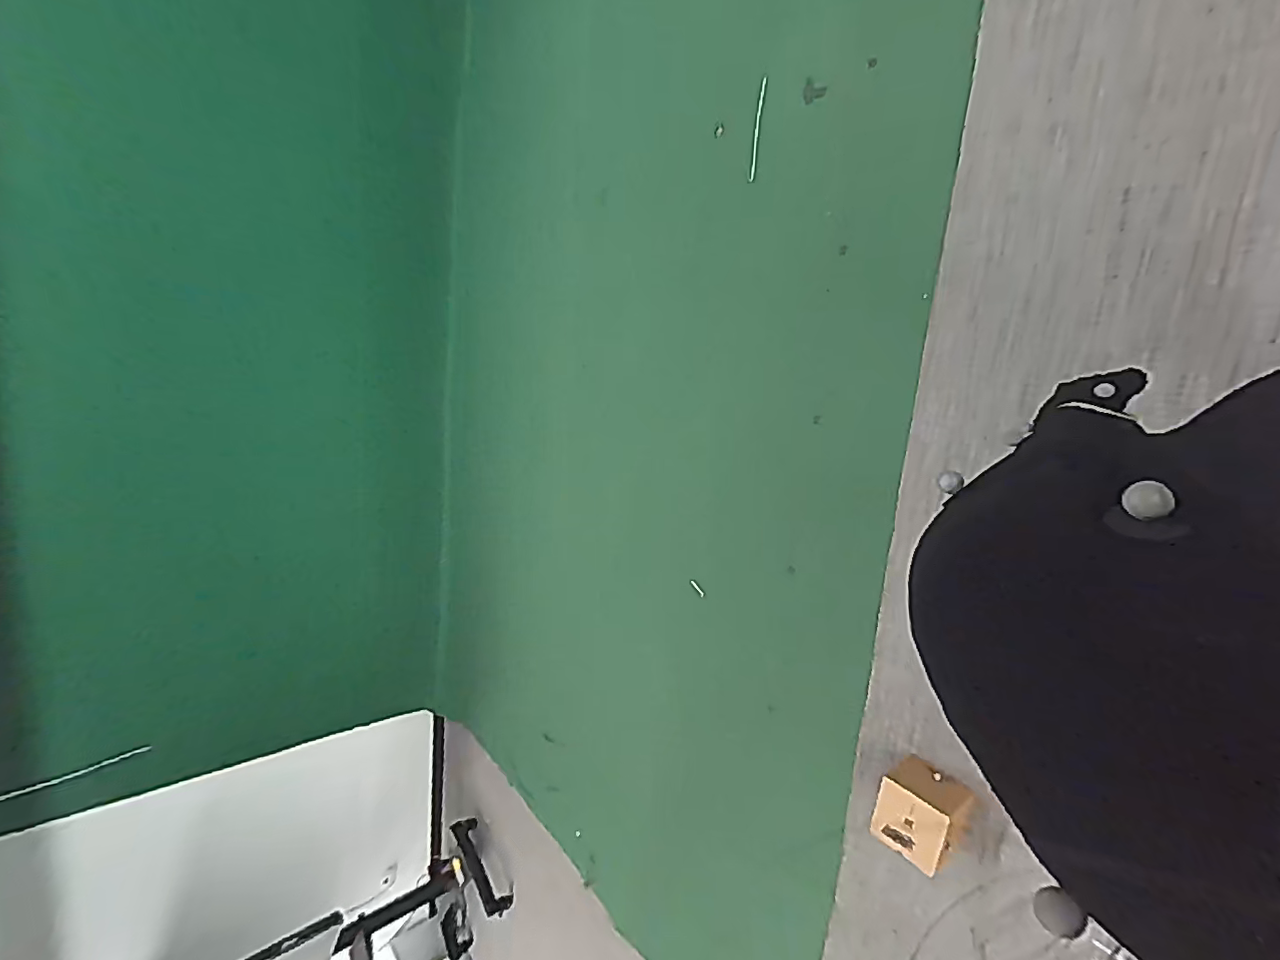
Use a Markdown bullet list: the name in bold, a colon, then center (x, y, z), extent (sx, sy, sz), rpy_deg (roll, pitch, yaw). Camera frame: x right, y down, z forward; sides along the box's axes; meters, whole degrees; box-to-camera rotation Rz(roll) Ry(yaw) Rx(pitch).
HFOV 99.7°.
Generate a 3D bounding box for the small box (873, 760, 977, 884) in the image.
- **small box**: center (0.729, 0.862, 1.380), extent (0.168, 0.176, 0.179), rpy_deg (20, 105, 47)
